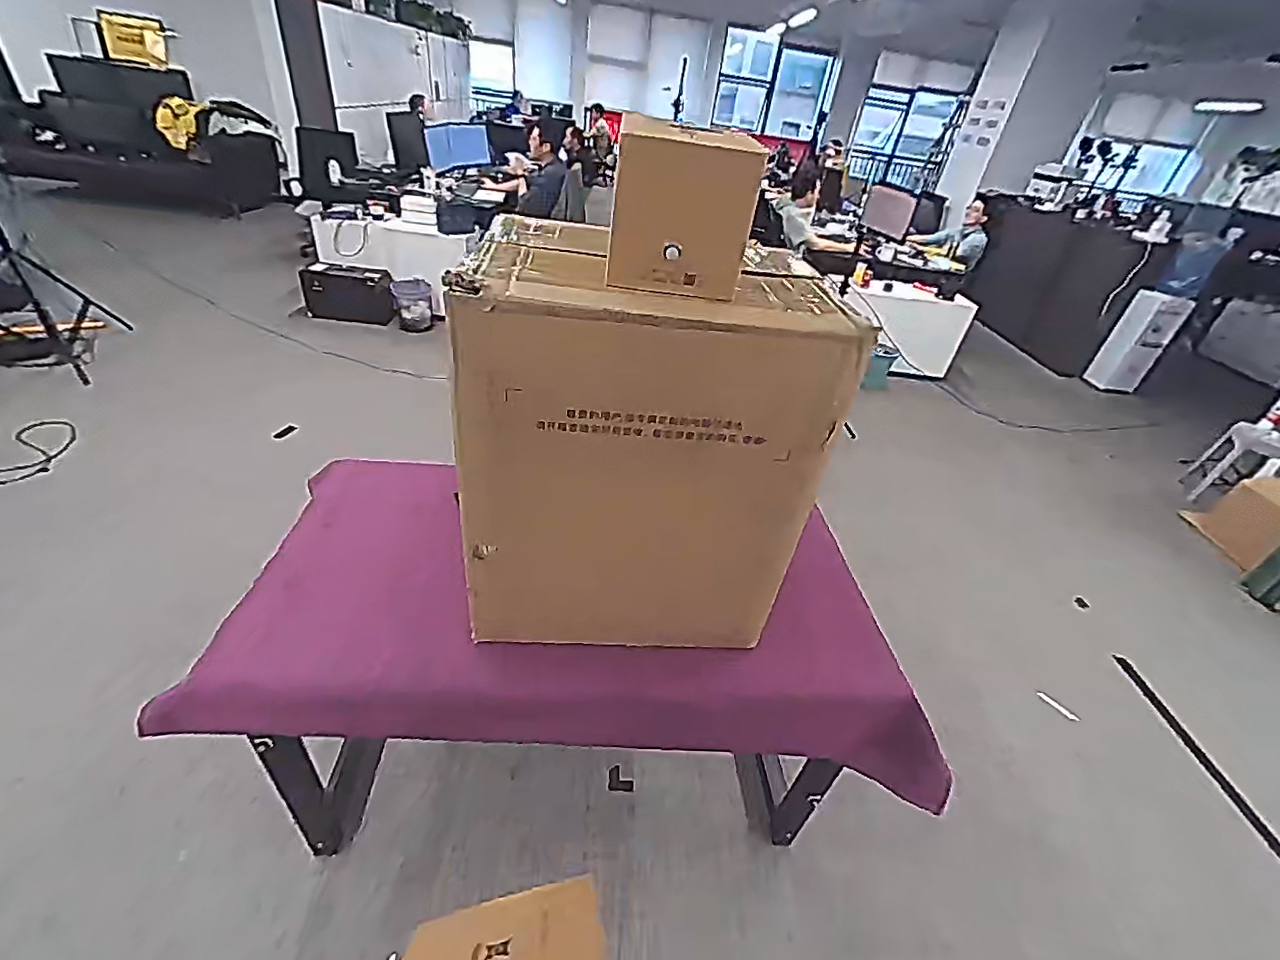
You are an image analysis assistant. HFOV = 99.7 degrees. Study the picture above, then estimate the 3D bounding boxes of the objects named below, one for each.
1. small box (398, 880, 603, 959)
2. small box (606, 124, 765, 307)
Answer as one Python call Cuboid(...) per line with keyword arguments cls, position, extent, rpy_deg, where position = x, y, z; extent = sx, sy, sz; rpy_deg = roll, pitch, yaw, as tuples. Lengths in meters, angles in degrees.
Cuboid(cls="small box", position=(-0.110, 0.477, 0.436), extent=(0.179, 0.168, 0.176), rpy_deg=(-10, 79, -9))
Cuboid(cls="small box", position=(0.046, -0.342, 0.698), extent=(0.168, 0.176, 0.179), rpy_deg=(5, 38, -4))
